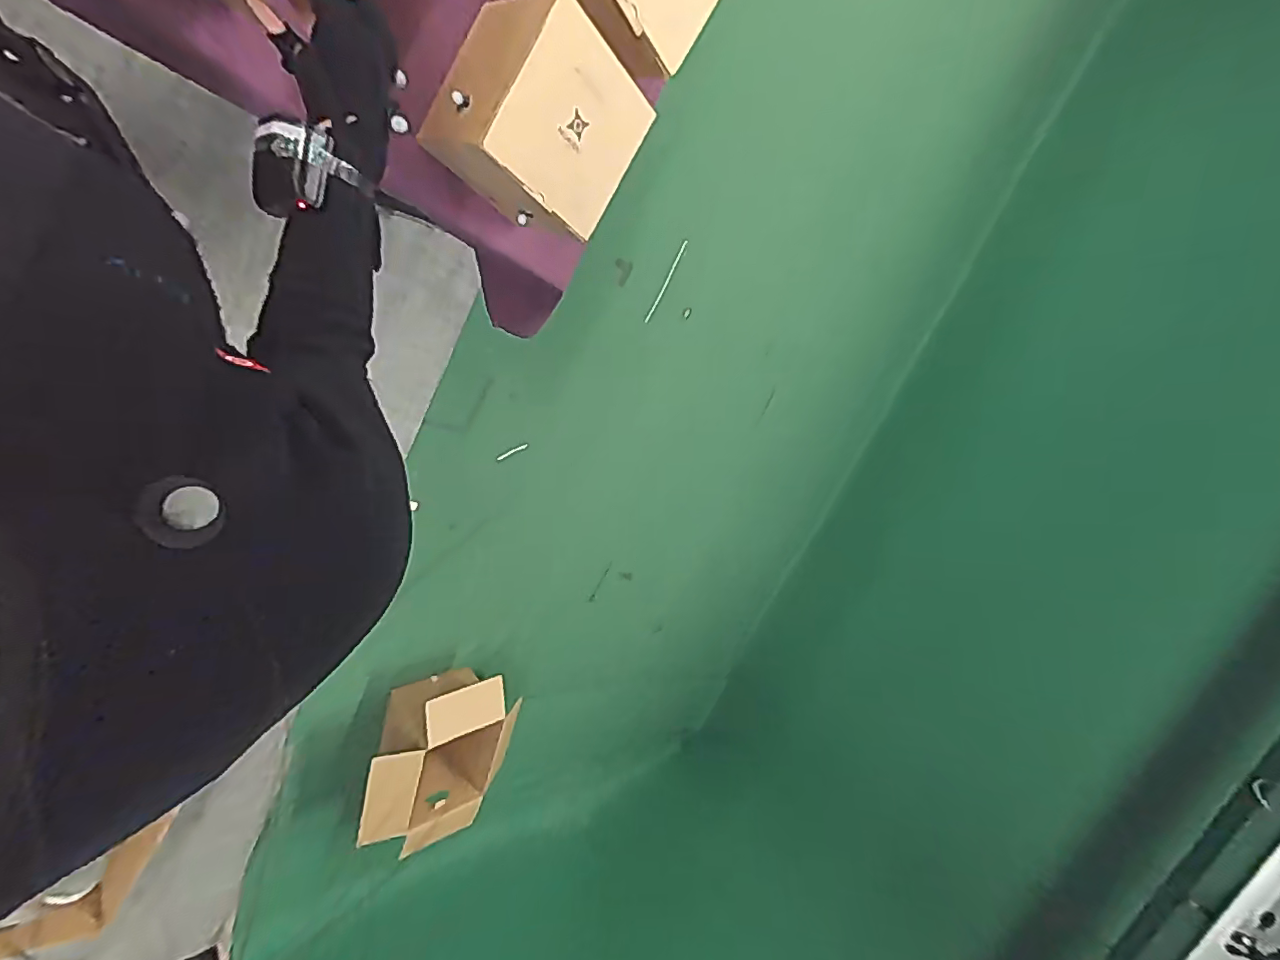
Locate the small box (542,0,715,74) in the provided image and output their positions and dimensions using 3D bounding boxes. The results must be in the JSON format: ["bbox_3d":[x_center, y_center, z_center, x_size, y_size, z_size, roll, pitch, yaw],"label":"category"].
[{"bbox_3d":[-0.017,-0.606,0.615,0.168,0.176,0.179,28,96,-52],"label":"small box"}]
